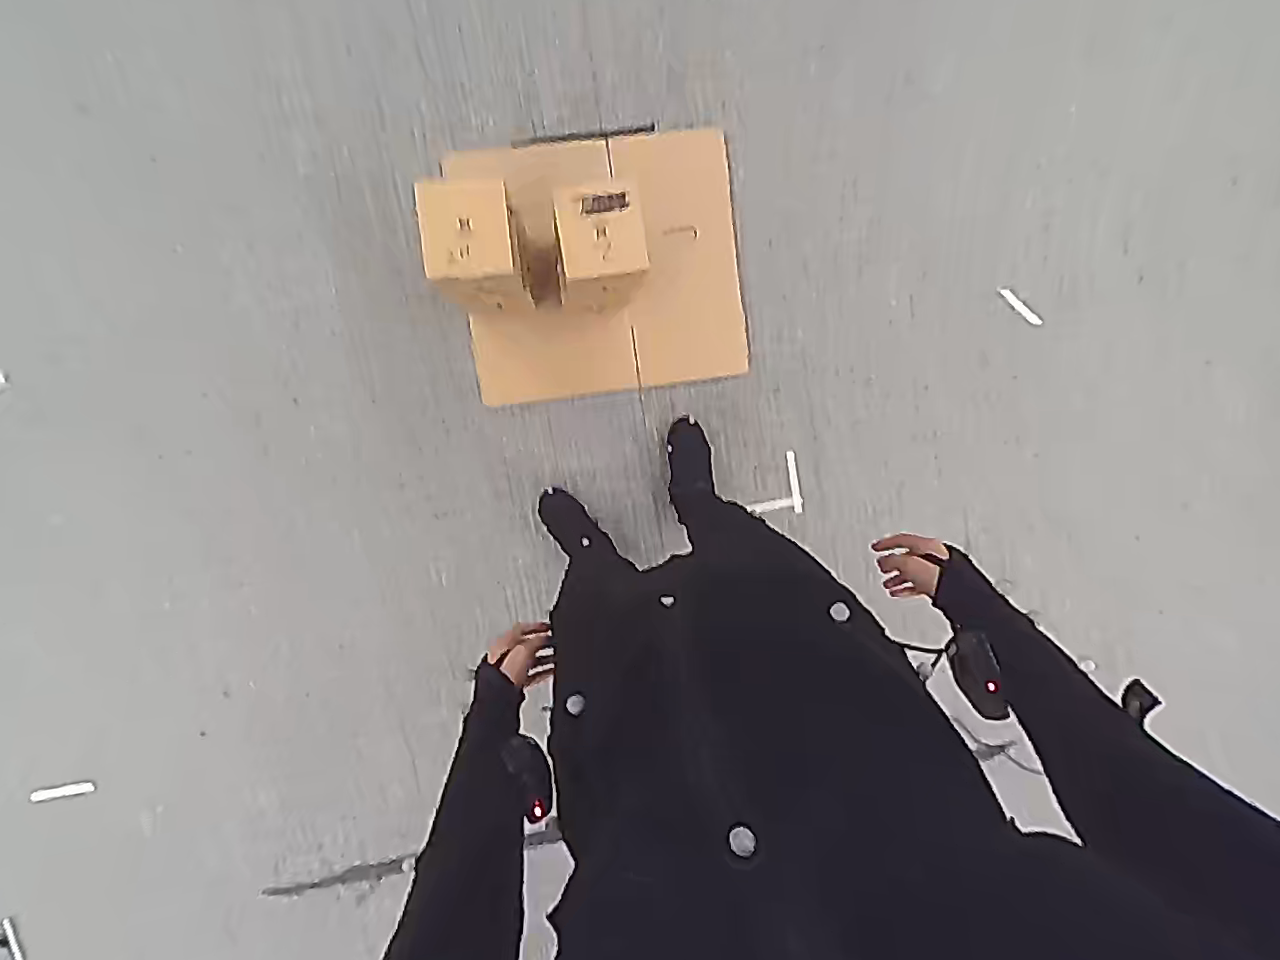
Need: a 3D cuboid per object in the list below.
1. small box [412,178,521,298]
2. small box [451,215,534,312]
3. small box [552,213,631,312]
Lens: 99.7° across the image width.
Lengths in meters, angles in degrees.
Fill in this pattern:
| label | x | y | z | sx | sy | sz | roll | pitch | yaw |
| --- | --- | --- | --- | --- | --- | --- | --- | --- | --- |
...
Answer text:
| label | x | y | z | sx | sy | sz | roll | pitch | yaw |
| --- | --- | --- | --- | --- | --- | --- | --- | --- | --- |
| small box | -0.339 | -0.477 | 1.085 | 0.168 | 0.176 | 0.179 | -5 | 97 | -4 |
| small box | -0.344 | -0.491 | 1.250 | 0.168 | 0.176 | 0.179 | -6 | 98 | -4 |
| small box | -0.116 | -0.505 | 1.272 | 0.168 | 0.176 | 0.179 | -5 | 97 | -5 |
